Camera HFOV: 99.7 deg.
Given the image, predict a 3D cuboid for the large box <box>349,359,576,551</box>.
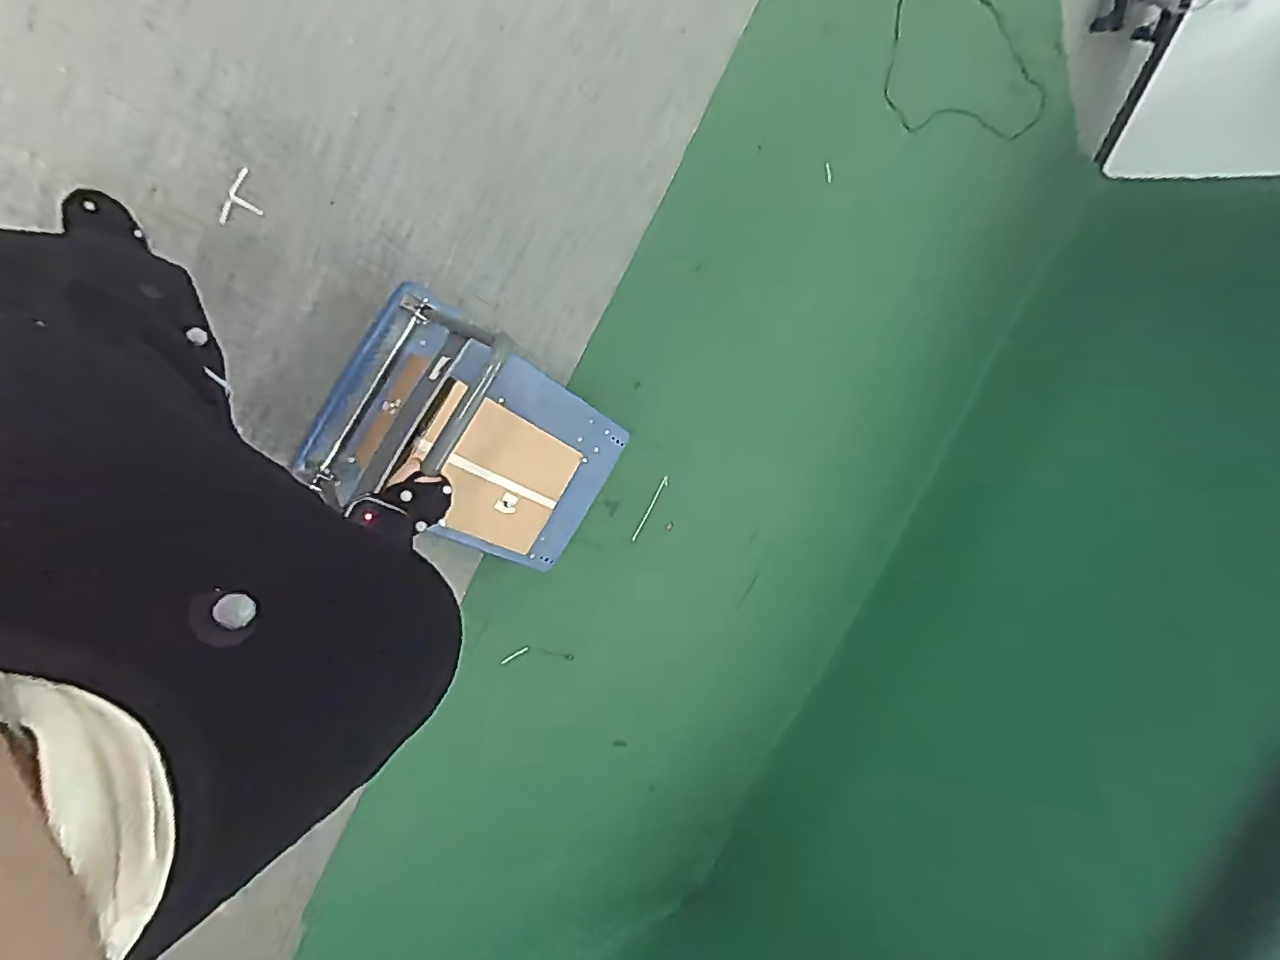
[{"bbox_3d":[-0.455,-0.062,1.401,0.408,0.320,0.320,31,89,-45],"label":"large box"}]
